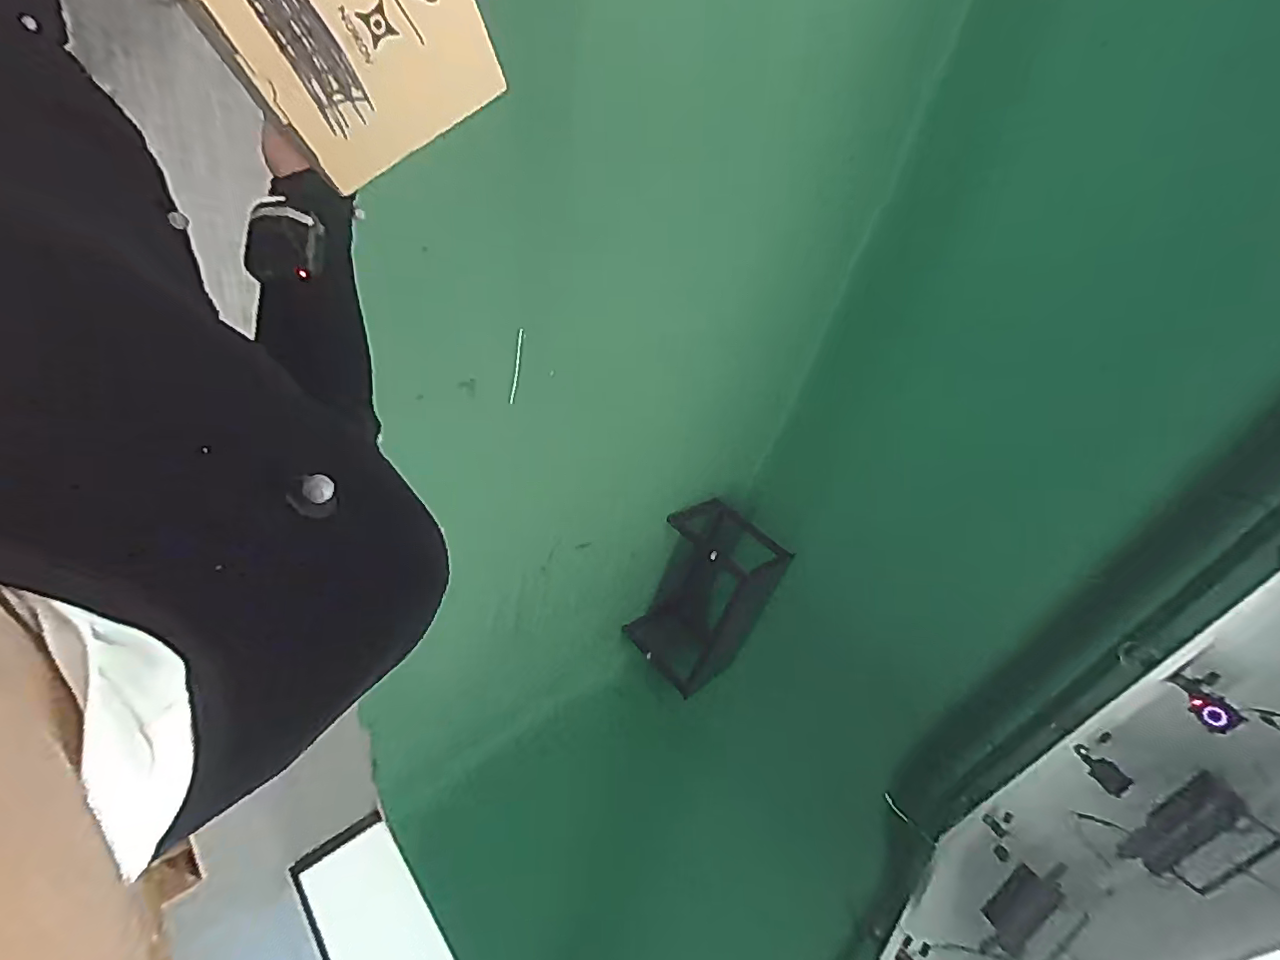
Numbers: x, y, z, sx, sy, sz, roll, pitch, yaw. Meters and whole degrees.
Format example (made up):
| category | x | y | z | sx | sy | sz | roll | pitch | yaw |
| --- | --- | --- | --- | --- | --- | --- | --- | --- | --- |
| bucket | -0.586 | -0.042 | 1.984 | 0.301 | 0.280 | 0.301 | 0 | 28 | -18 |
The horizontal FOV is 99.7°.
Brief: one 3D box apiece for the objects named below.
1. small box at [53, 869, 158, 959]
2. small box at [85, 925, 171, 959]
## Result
| category | x | y | z | sx | sy | sz | roll | pitch | yaw |
| --- | --- | --- | --- | --- | --- | --- | --- | --- | --- |
| small box | -1.383 | 1.170 | 1.409 | 0.168 | 0.176 | 0.179 | -18 | 136 | -43 |
| small box | -1.269 | 1.262 | 1.334 | 0.168 | 0.176 | 0.179 | -8 | 128 | -50 |
